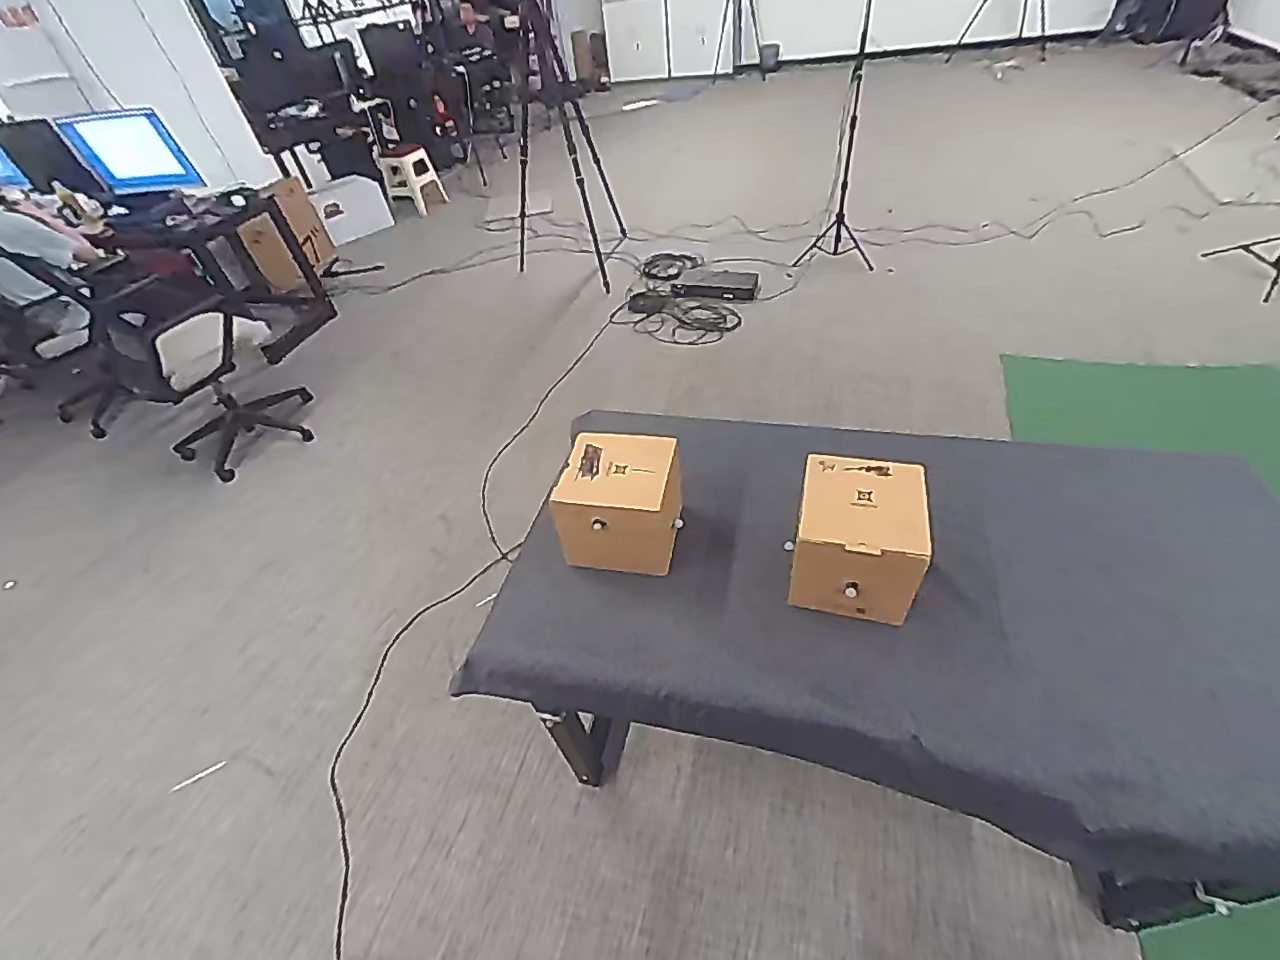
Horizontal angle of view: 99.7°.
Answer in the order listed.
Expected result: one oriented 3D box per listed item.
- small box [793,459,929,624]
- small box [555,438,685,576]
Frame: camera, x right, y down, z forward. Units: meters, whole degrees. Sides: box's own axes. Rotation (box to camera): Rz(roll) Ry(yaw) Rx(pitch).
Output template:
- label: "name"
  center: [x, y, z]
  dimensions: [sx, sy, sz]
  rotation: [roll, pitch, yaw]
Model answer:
- label: "small box"
  center: [0.329, 0.094, 0.823]
  dimensions: [0.168, 0.176, 0.179]
  rotation: [7, 47, 17]
- label: "small box"
  center: [-0.023, 0.047, 0.928]
  dimensions: [0.179, 0.176, 0.168]
  rotation: [5, 46, 13]
